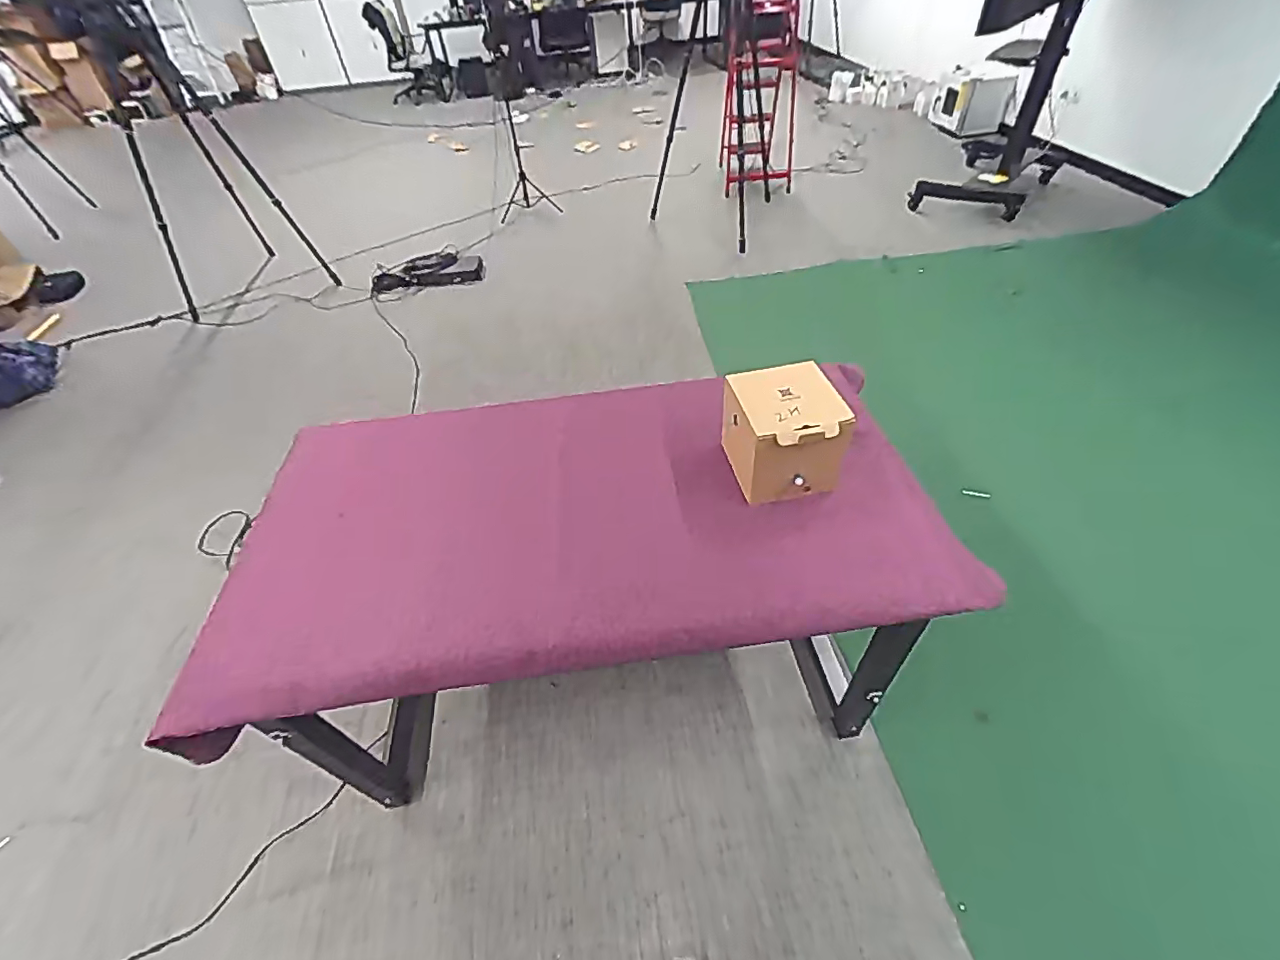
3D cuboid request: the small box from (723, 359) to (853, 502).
[{"bbox_3d":[0.250,-0.088,0.966,0.168,0.176,0.179,-11,47,-4],"label":"small box"}]
